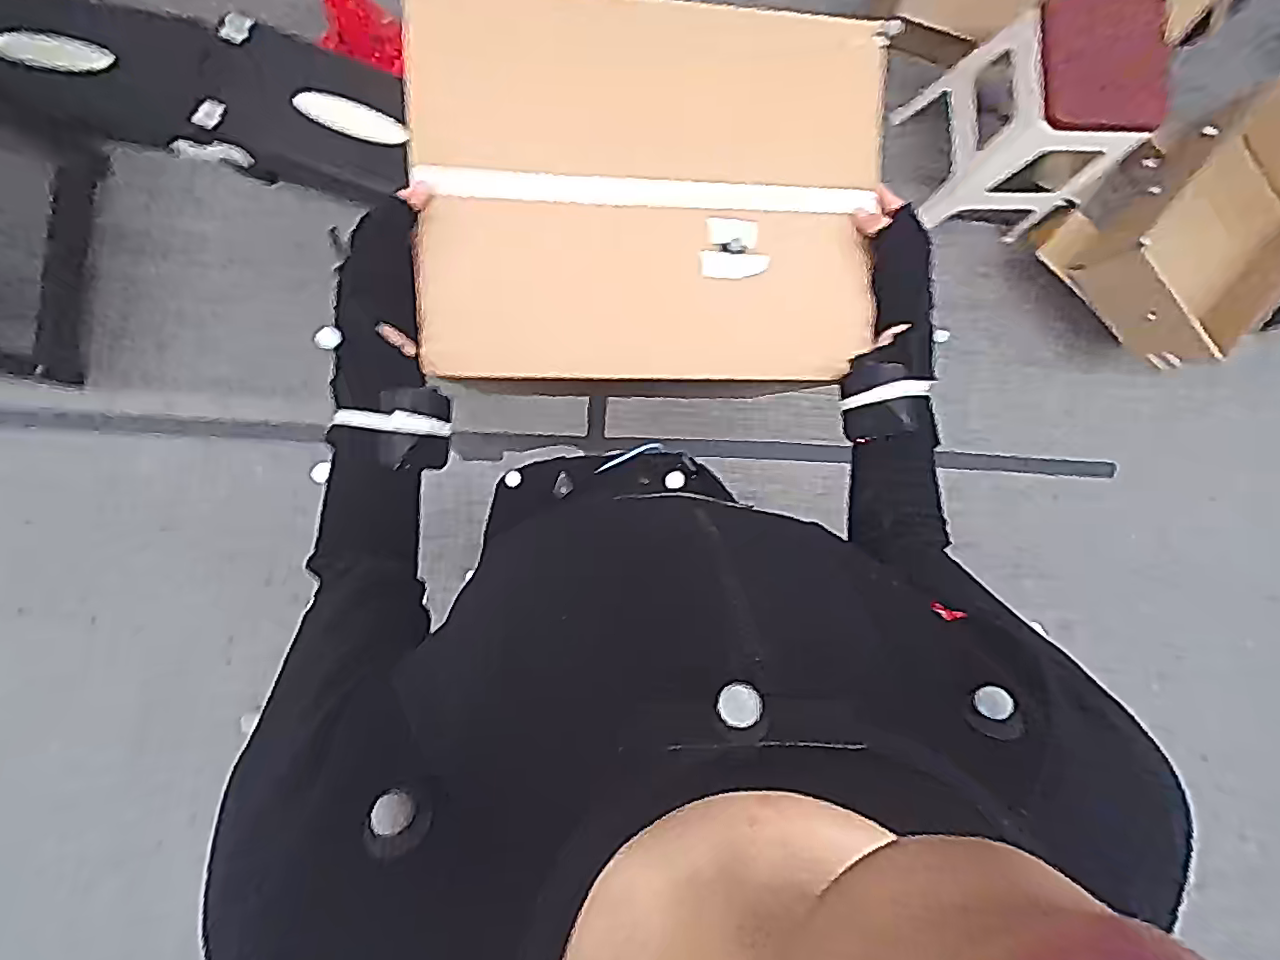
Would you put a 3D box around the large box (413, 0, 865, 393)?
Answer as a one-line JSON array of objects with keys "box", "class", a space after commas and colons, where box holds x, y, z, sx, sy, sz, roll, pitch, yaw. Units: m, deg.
[{"box": [-0.011, -0.267, 0.628, 0.408, 0.320, 0.320, -1, 97, -9], "class": "large box"}]
